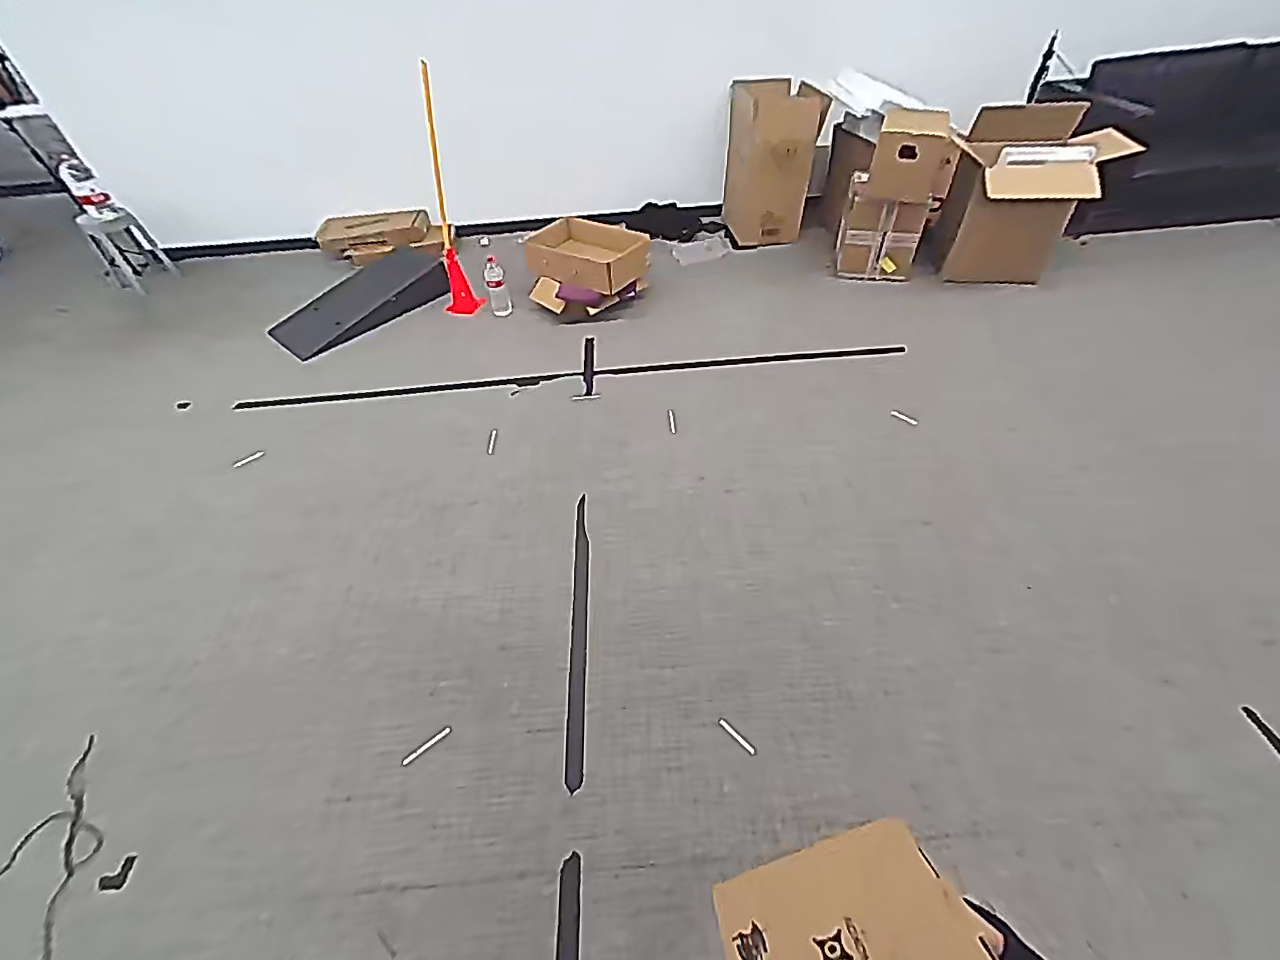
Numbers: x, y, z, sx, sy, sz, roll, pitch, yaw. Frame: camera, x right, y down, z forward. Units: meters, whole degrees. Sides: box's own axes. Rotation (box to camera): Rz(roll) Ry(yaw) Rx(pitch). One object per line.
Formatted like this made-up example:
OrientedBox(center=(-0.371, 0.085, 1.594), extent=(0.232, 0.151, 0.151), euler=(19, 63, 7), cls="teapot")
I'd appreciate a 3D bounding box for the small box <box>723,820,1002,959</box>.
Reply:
OrientedBox(center=(0.183, 0.414, 0.407), extent=(0.179, 0.176, 0.168), euler=(-21, 8, 1), cls="small box")
